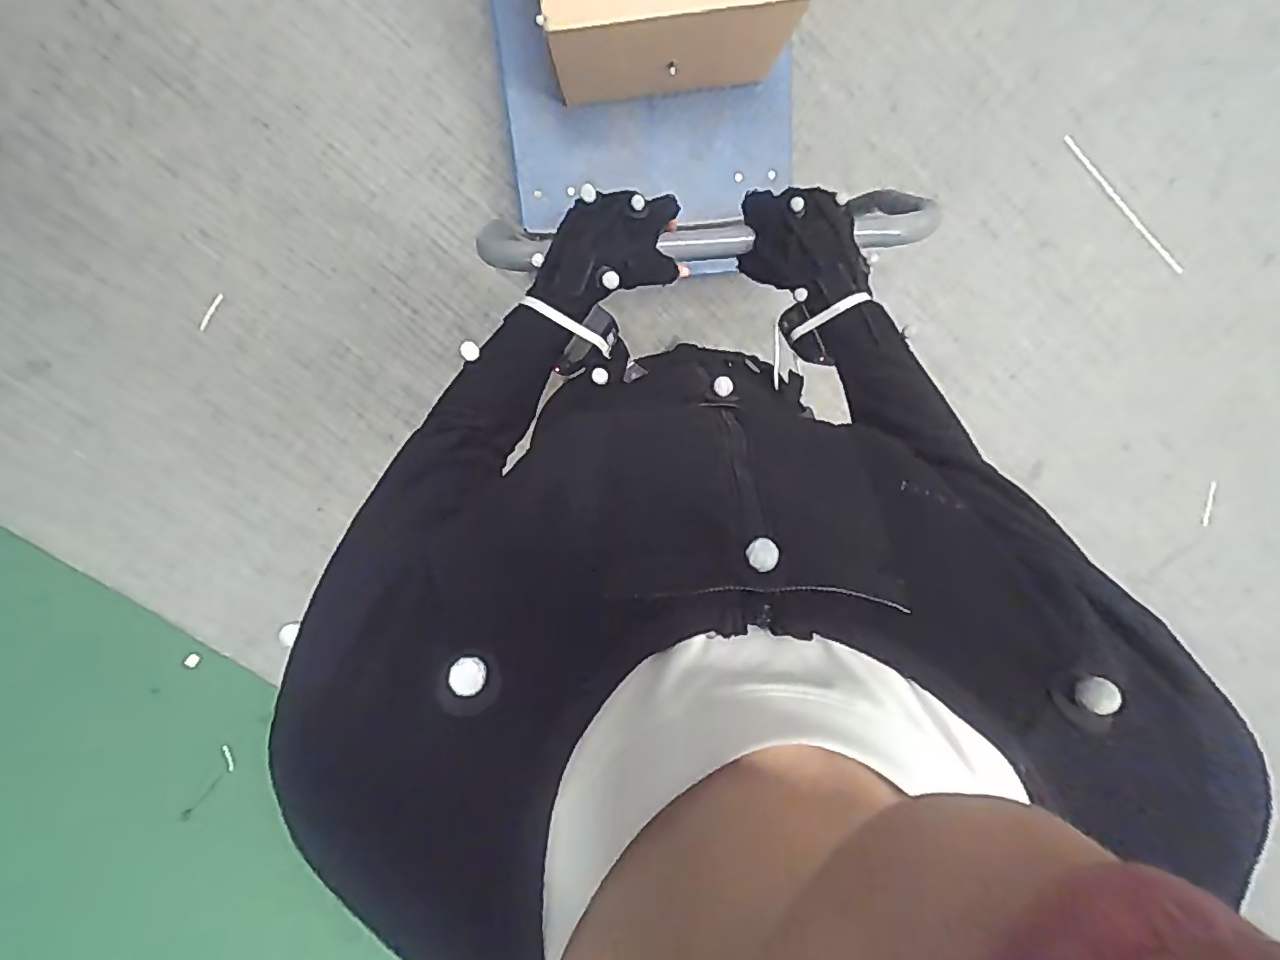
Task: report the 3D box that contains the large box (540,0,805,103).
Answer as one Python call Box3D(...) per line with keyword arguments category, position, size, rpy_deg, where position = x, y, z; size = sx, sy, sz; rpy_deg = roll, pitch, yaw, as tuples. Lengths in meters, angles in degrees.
Box3D(category="large box", position=(0.033, -0.877, 0.895), size=(0.408, 0.320, 0.320), rpy_deg=(-8, 107, 1))
